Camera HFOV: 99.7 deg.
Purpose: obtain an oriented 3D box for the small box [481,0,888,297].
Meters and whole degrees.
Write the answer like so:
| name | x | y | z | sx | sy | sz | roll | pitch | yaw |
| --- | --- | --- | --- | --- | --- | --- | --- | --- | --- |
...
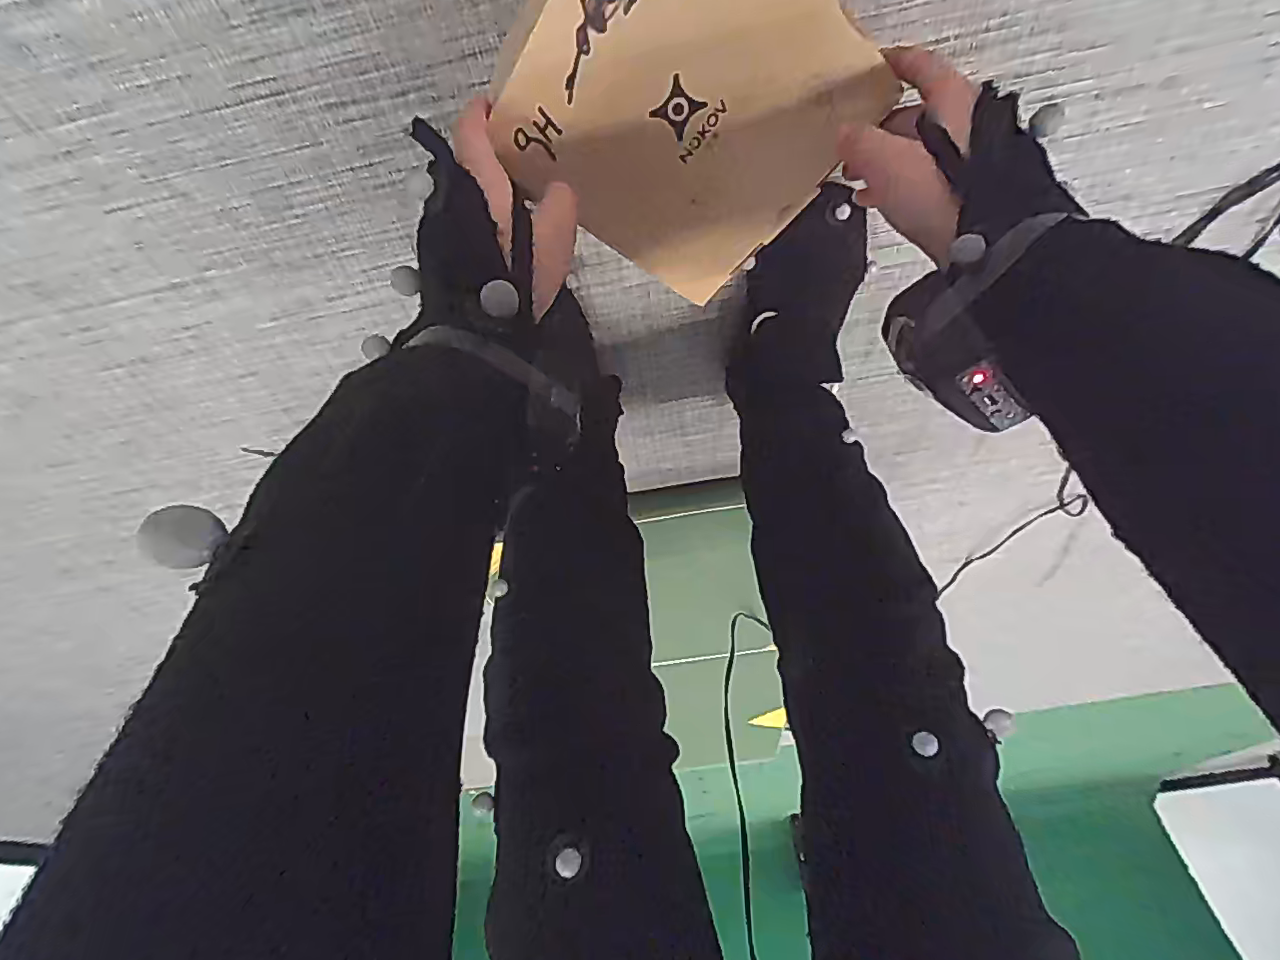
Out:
| name | x | y | z | sx | sy | sz | roll | pitch | yaw |
| --- | --- | --- | --- | --- | --- | --- | --- | --- | --- |
| small box | 0.019 | -0.266 | 0.354 | 0.179 | 0.176 | 0.168 | 23 | 133 | -32 |
